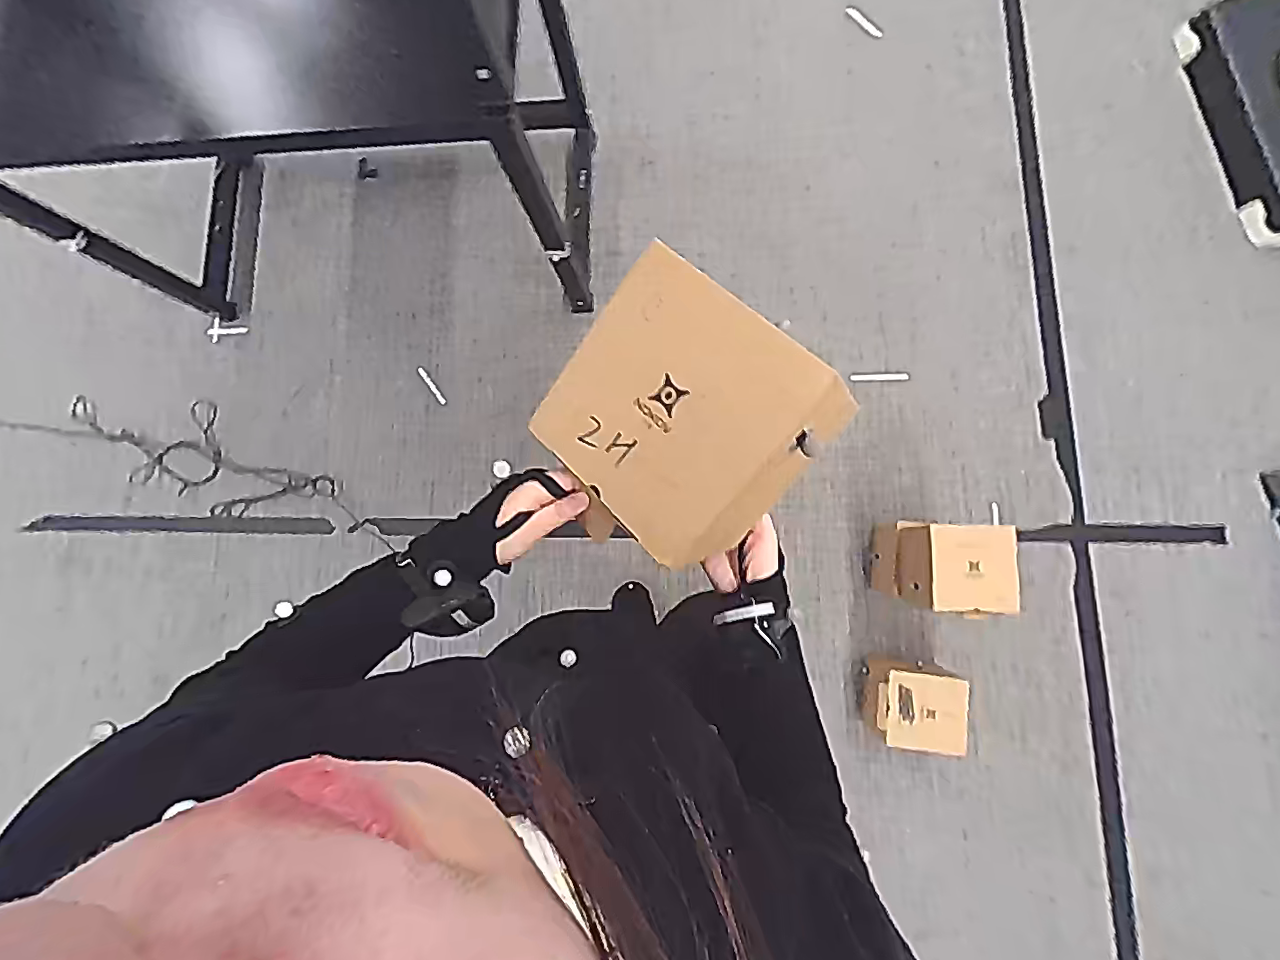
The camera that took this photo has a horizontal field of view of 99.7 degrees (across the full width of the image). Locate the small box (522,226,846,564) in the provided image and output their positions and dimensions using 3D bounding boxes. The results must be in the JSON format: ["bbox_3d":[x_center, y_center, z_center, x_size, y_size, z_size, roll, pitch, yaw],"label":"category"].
[{"bbox_3d":[0.047,-0.059,0.441,0.168,0.176,0.179,44,108,20],"label":"small box"}]

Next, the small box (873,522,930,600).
[{"bbox_3d":[0.677,0.199,1.312,0.168,0.176,0.179,6,84,6],"label":"small box"}]

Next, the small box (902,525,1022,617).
[{"bbox_3d":[0.674,0.189,1.148,0.168,0.176,0.179,1,82,5],"label":"small box"}]

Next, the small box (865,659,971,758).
[{"bbox_3d":[0.646,0.529,1.275,0.179,0.176,0.168,6,84,6],"label":"small box"}]
